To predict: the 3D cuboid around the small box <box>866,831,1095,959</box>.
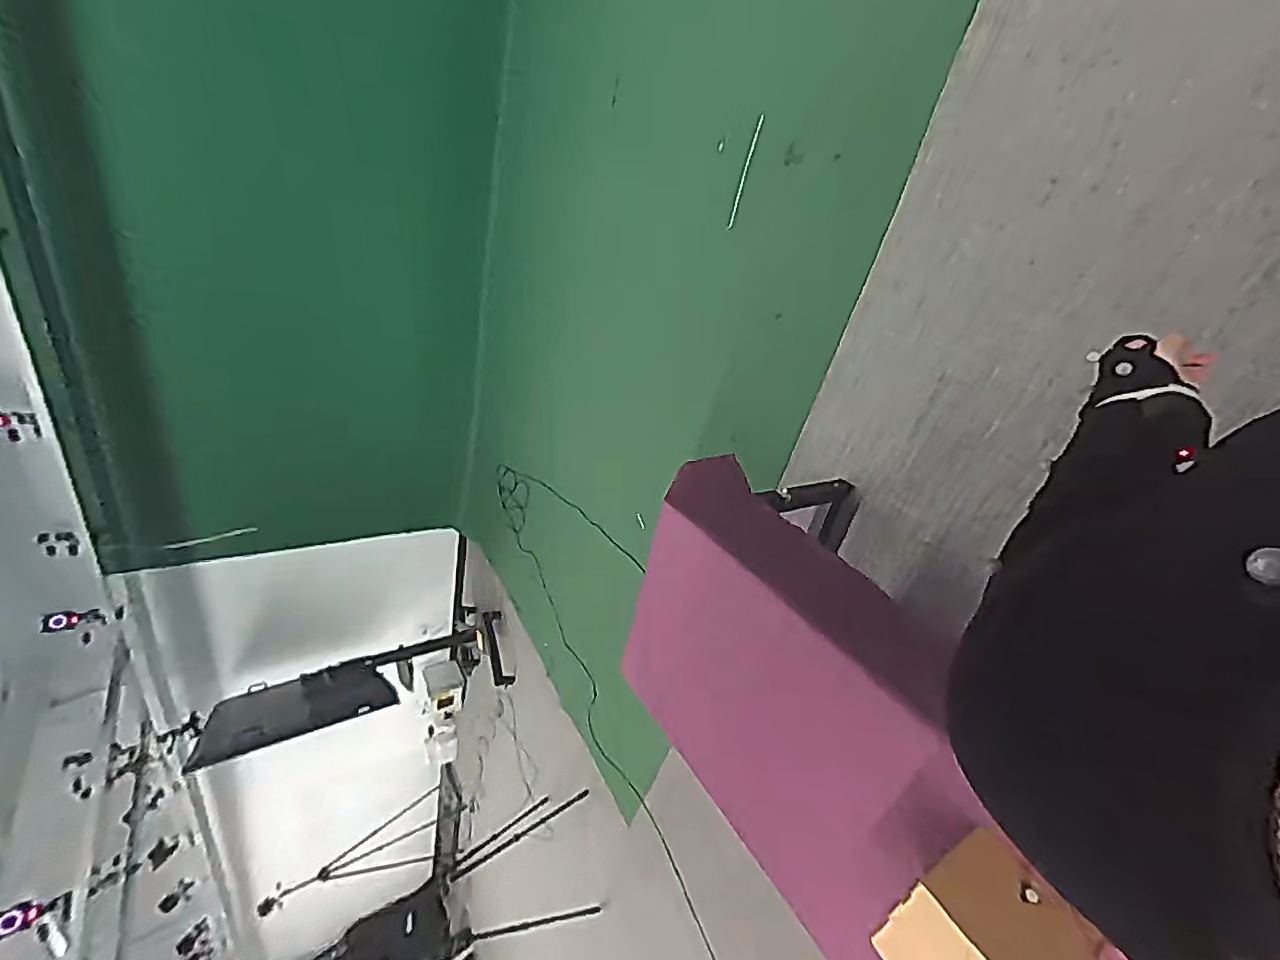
[{"bbox_3d":[0.459,0.624,0.742,0.179,0.176,0.168,45,131,44],"label":"small box"}]
